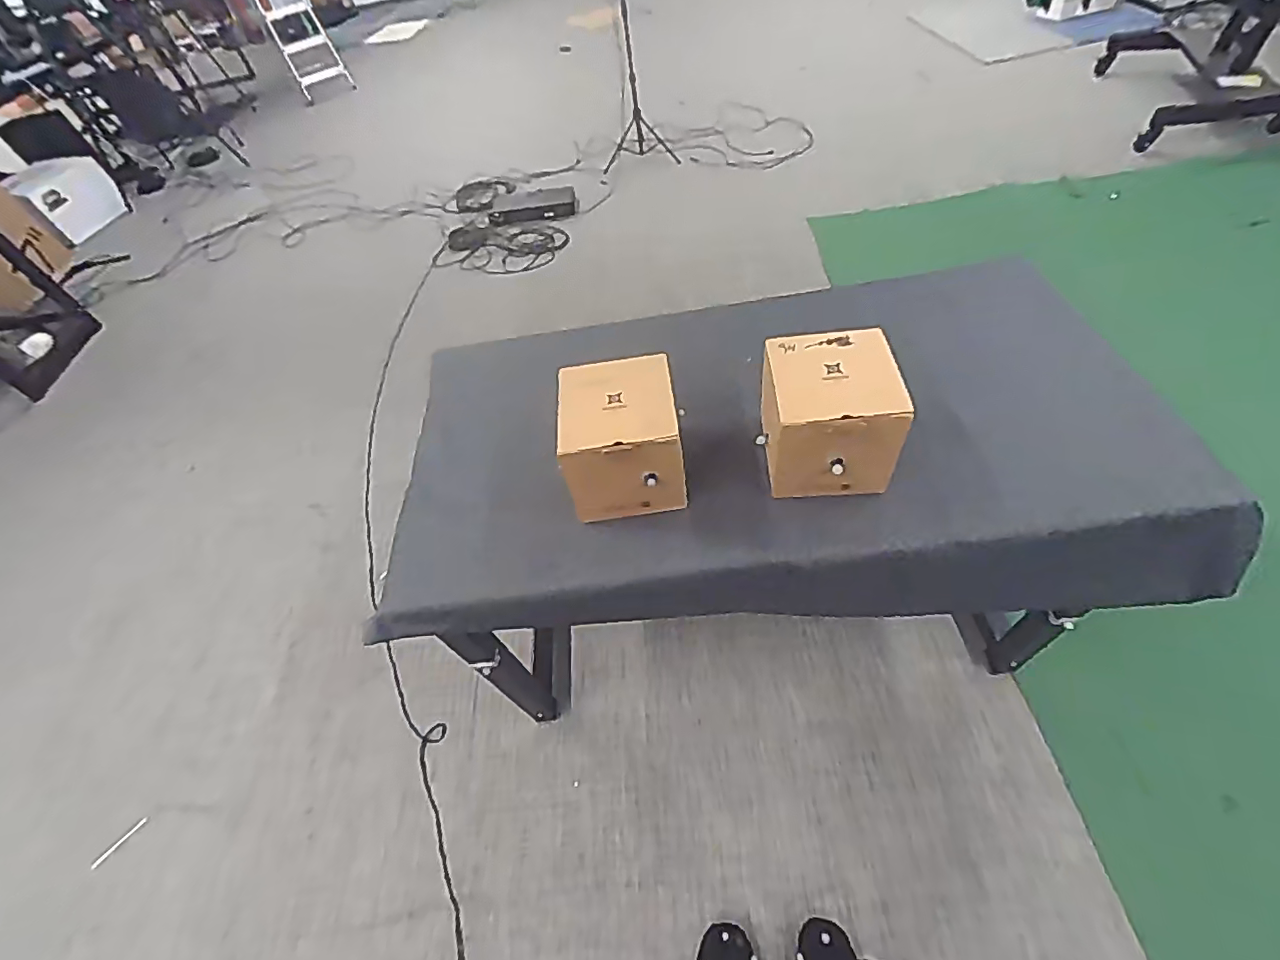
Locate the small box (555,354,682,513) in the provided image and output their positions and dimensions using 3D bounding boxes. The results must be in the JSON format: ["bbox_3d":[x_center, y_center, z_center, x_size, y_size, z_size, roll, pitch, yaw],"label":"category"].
[{"bbox_3d":[-0.030,-0.063,0.834,0.168,0.176,0.179,-8,51,2],"label":"small box"}]

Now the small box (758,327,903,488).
[{"bbox_3d":[0.268,-0.099,0.805,0.168,0.176,0.179,-4,54,7],"label":"small box"}]
